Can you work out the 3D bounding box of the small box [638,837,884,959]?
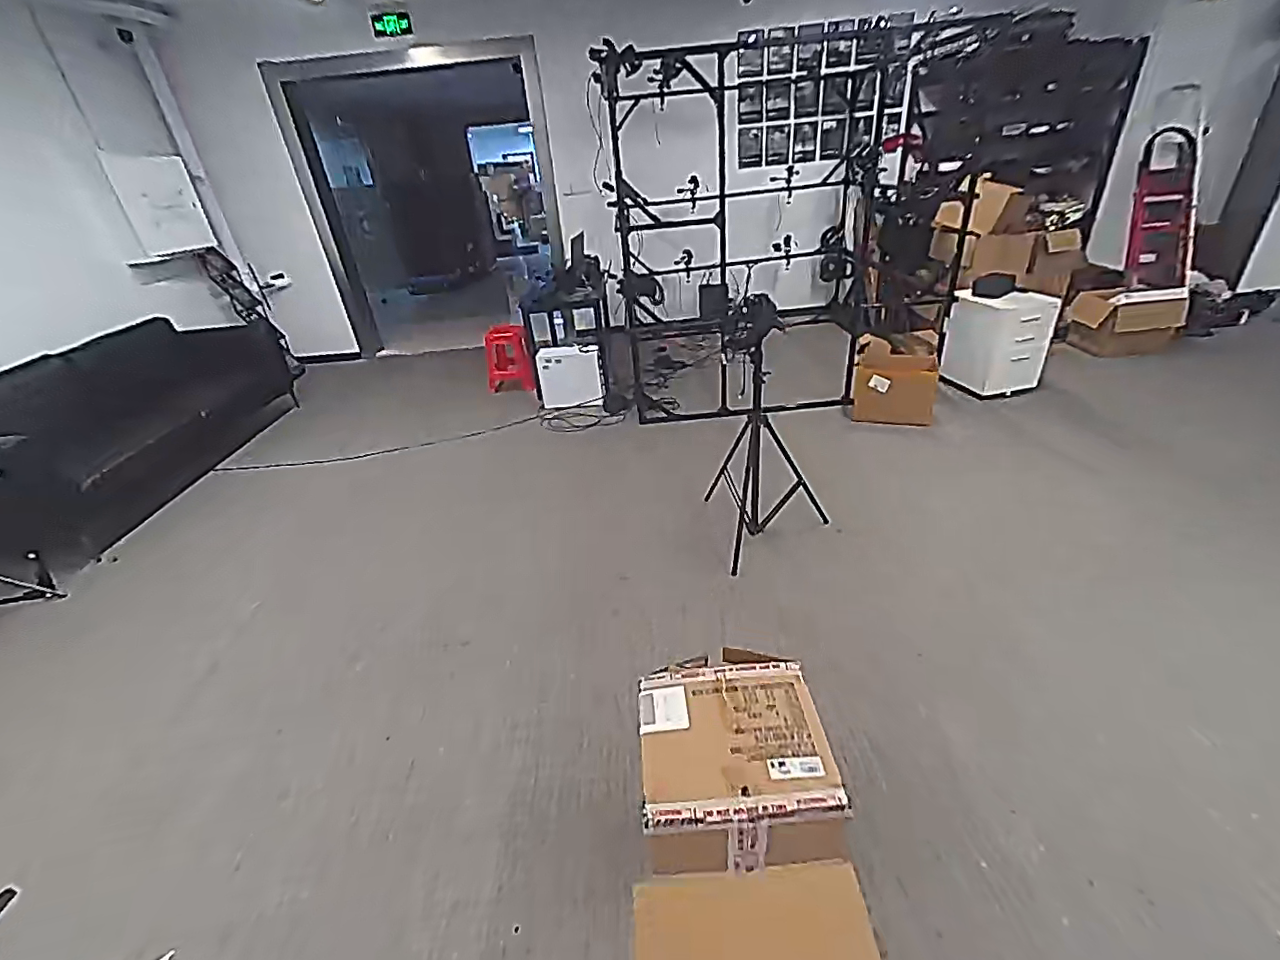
[{"bbox_3d":[0.088,0.395,0.402,0.168,0.176,0.179,-6,43,1],"label":"small box"}]
